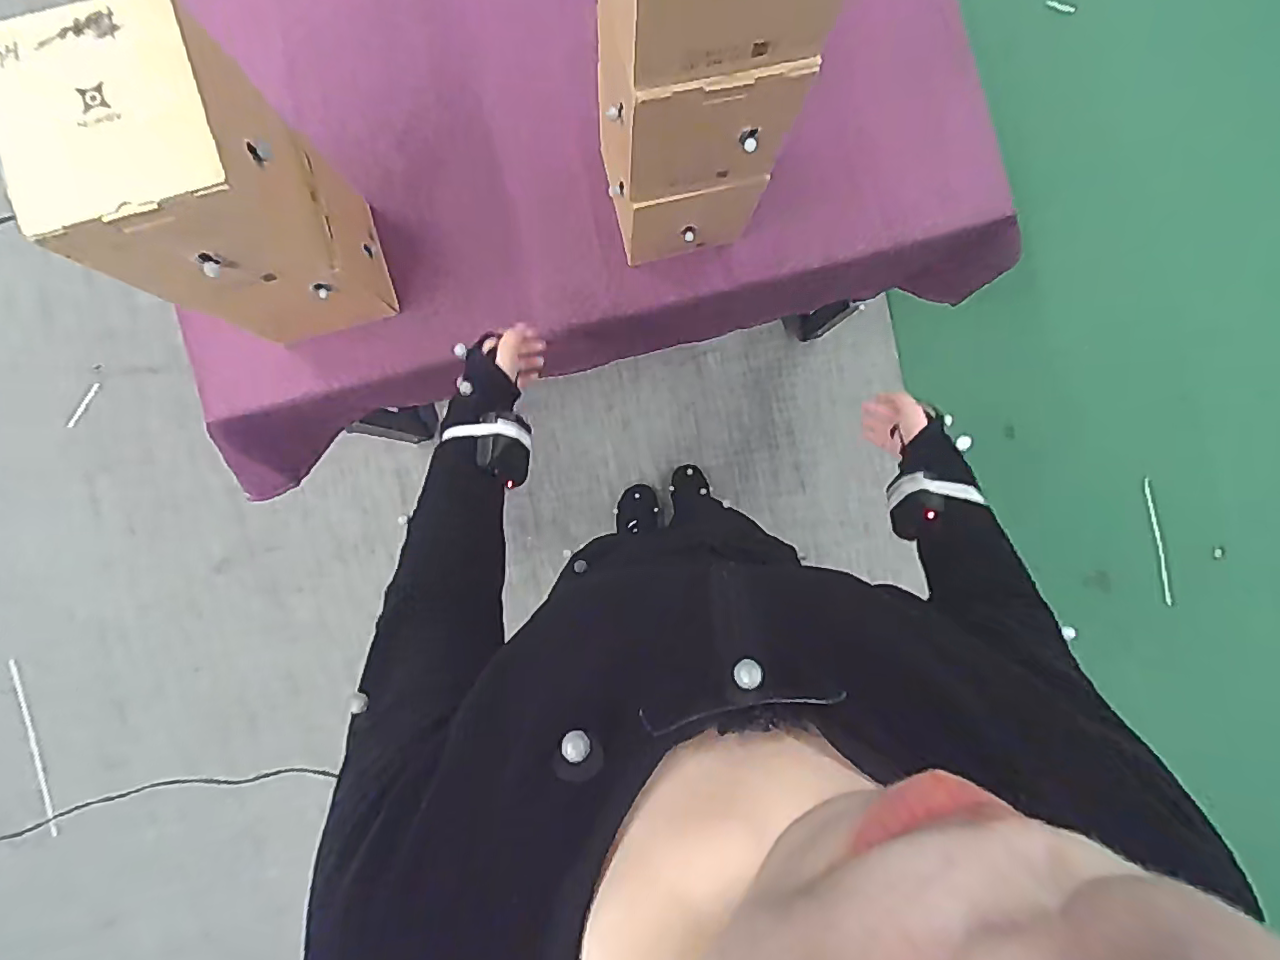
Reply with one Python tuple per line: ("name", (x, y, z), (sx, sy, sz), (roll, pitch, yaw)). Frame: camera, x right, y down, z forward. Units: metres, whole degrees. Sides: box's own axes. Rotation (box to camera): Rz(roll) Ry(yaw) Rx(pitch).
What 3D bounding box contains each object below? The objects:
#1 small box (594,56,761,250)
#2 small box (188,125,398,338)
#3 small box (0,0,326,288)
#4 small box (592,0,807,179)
("small box", (0.043, -0.425, 0.708), (0.168, 0.176, 0.179), (-14, 89, -3))
("small box", (-0.445, -0.299, 0.689), (0.179, 0.176, 0.168), (-17, 89, -3))
("small box", (-0.443, -0.306, 0.525), (0.168, 0.176, 0.179), (-18, 89, -4))
("small box", (0.047, -0.433, 0.545), (0.168, 0.176, 0.179), (-12, 88, -2))
